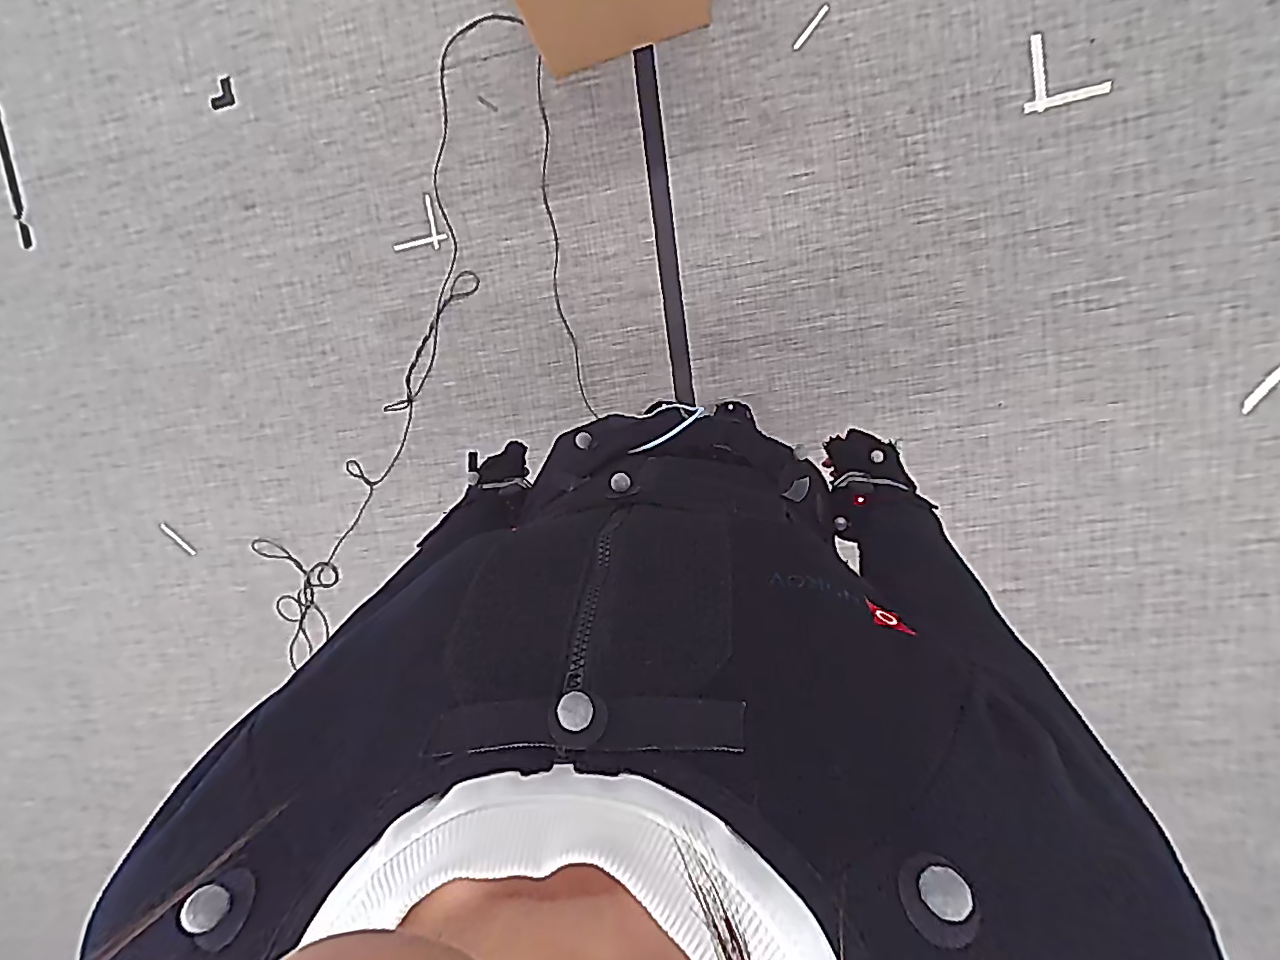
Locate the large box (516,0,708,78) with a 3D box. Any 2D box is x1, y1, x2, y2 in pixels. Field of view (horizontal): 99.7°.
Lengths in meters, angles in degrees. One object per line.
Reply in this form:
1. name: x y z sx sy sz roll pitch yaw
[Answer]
1. large box: -0.084 -1.154 1.138 0.408 0.320 0.320 -14 98 8
